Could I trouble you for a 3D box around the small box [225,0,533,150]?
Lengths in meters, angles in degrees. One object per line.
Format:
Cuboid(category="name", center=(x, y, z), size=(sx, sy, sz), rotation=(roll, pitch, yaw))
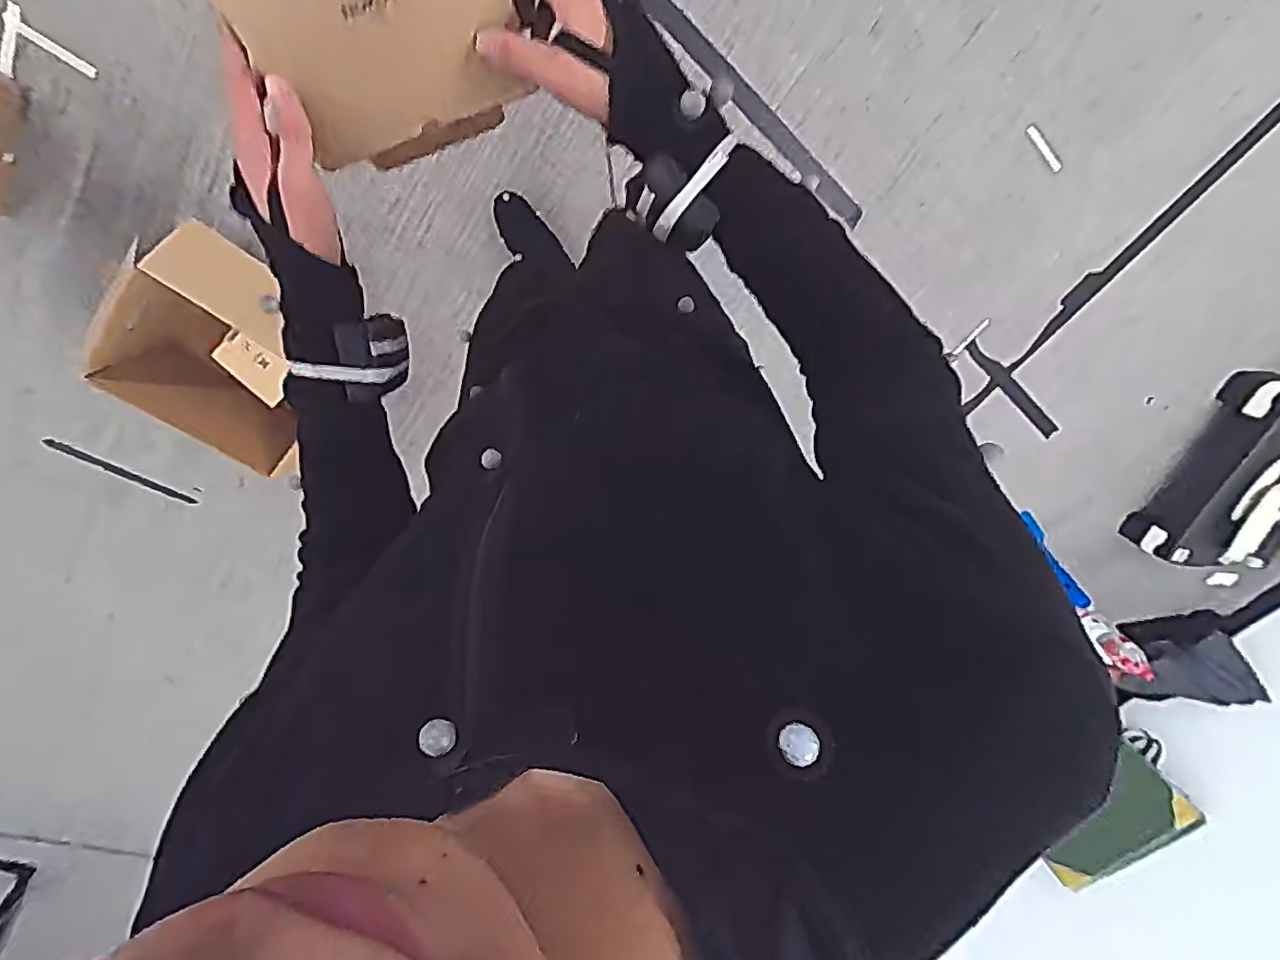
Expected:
Cuboid(category="small box", center=(-0.183, -0.364, 0.367), size=(0.168, 0.176, 0.179), rotation=(-19, 134, 2))
